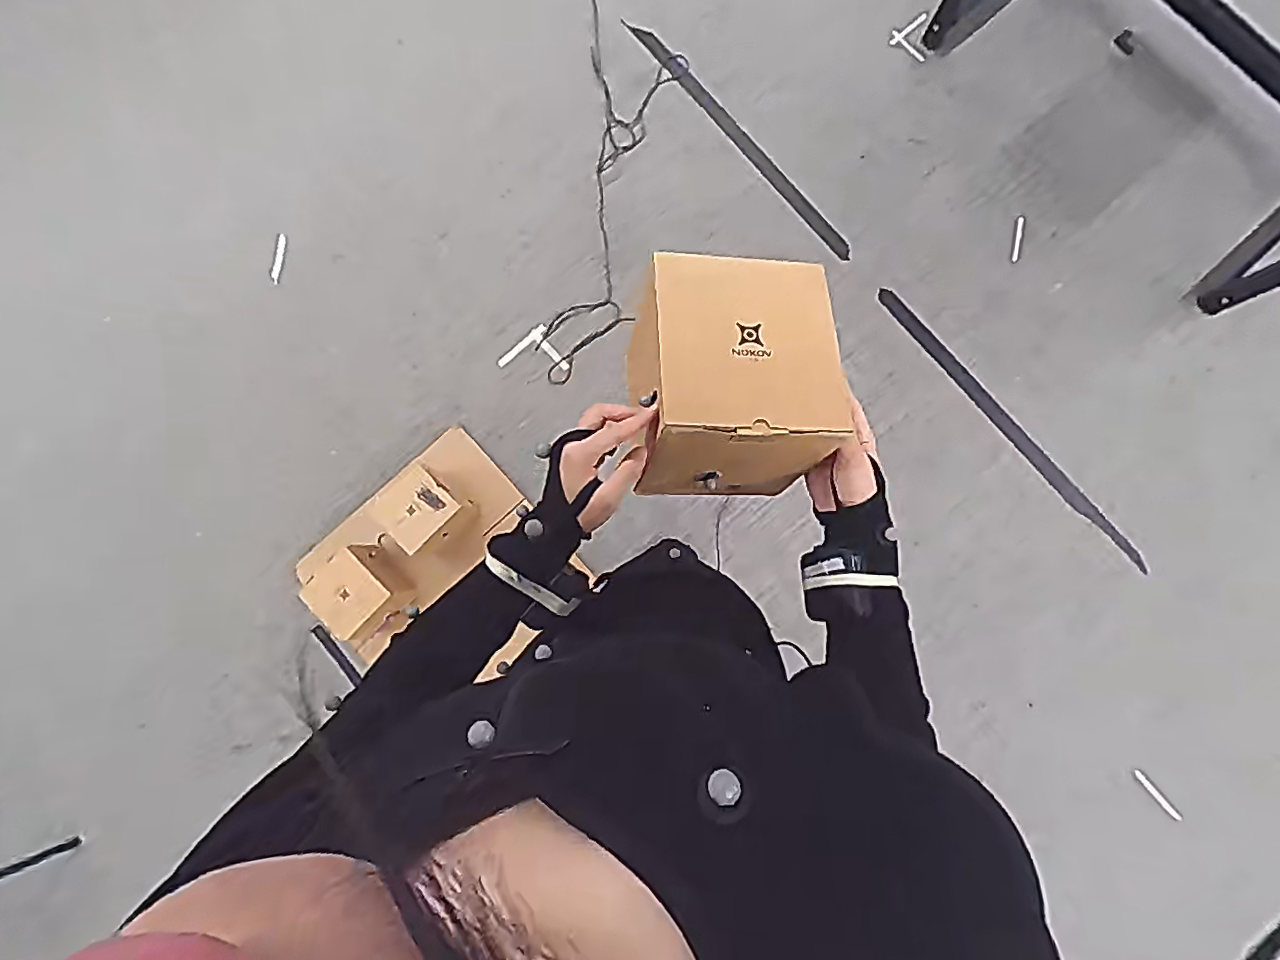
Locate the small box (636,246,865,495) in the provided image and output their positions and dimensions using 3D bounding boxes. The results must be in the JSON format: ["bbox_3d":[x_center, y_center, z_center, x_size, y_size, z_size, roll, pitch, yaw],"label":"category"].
[{"bbox_3d":[0.089,-0.095,0.533,0.168,0.176,0.179,1,71,-9],"label":"small box"}]

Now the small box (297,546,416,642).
[{"bbox_3d":[-0.721,0.287,1.394,0.179,0.176,0.168,43,86,5],"label":"small box"}]

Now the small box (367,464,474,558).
[{"bbox_3d":[-0.560,0.084,1.416,0.168,0.176,0.179,44,85,5],"label":"small box"}]
